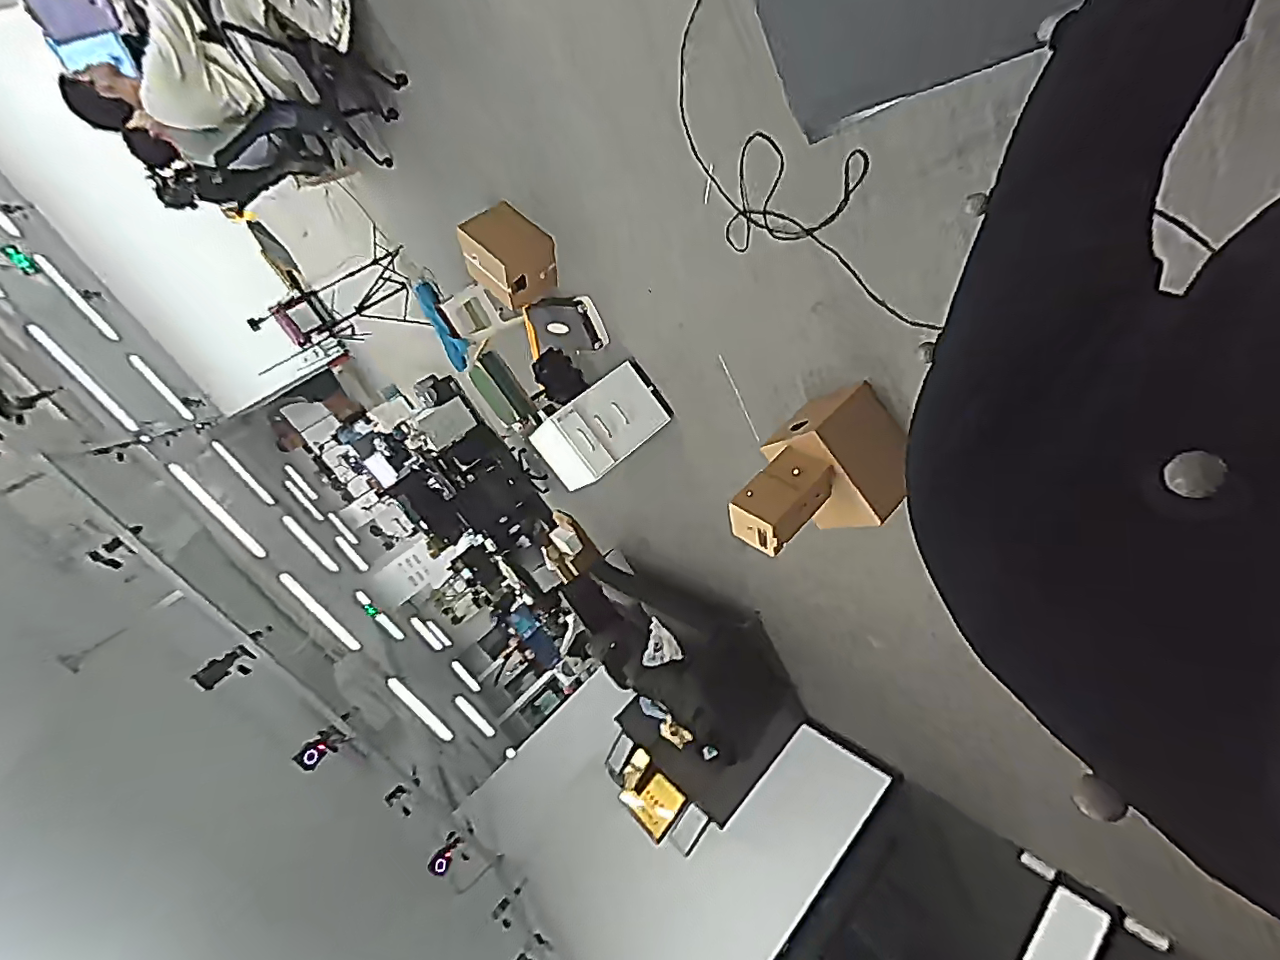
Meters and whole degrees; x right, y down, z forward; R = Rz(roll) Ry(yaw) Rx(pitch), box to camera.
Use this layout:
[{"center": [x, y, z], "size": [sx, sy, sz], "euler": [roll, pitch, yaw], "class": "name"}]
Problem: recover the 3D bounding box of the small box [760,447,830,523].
[{"center": [0.537, 0.010, 1.863], "size": [0.179, 0.176, 0.168], "euler": [29, 150, 37], "class": "small box"}]
